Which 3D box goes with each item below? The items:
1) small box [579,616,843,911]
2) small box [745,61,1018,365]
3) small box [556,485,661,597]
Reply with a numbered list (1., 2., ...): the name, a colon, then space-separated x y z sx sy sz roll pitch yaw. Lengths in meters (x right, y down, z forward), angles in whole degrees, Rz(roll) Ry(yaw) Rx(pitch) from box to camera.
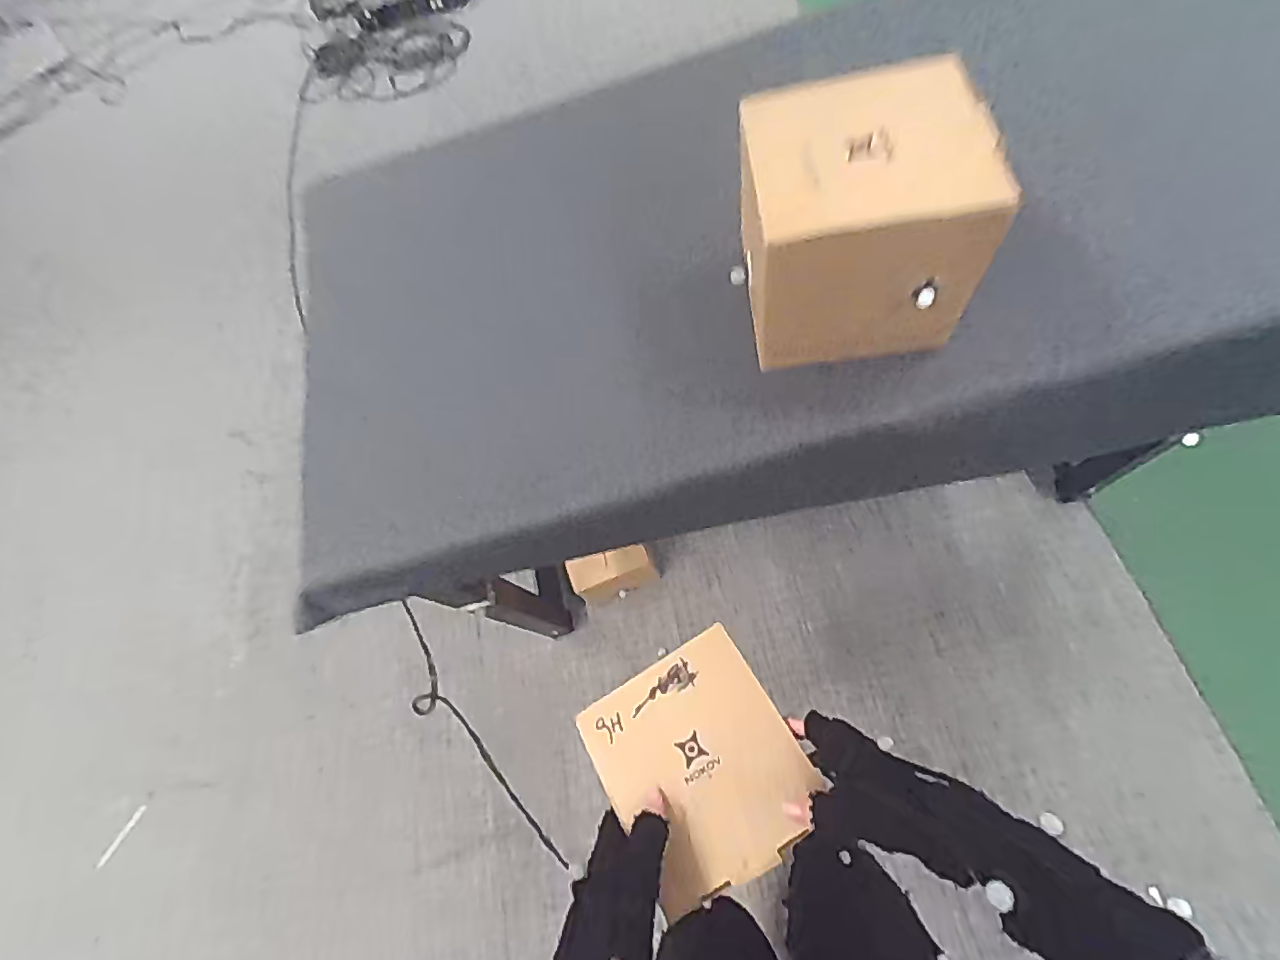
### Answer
1. small box: 0.071 0.259 0.530 0.168 0.176 0.179 -33 63 -1
2. small box: 0.193 -0.227 0.495 0.179 0.176 0.168 -7 66 9
3. small box: -0.065 0.140 1.192 0.168 0.176 0.179 -23 67 1
